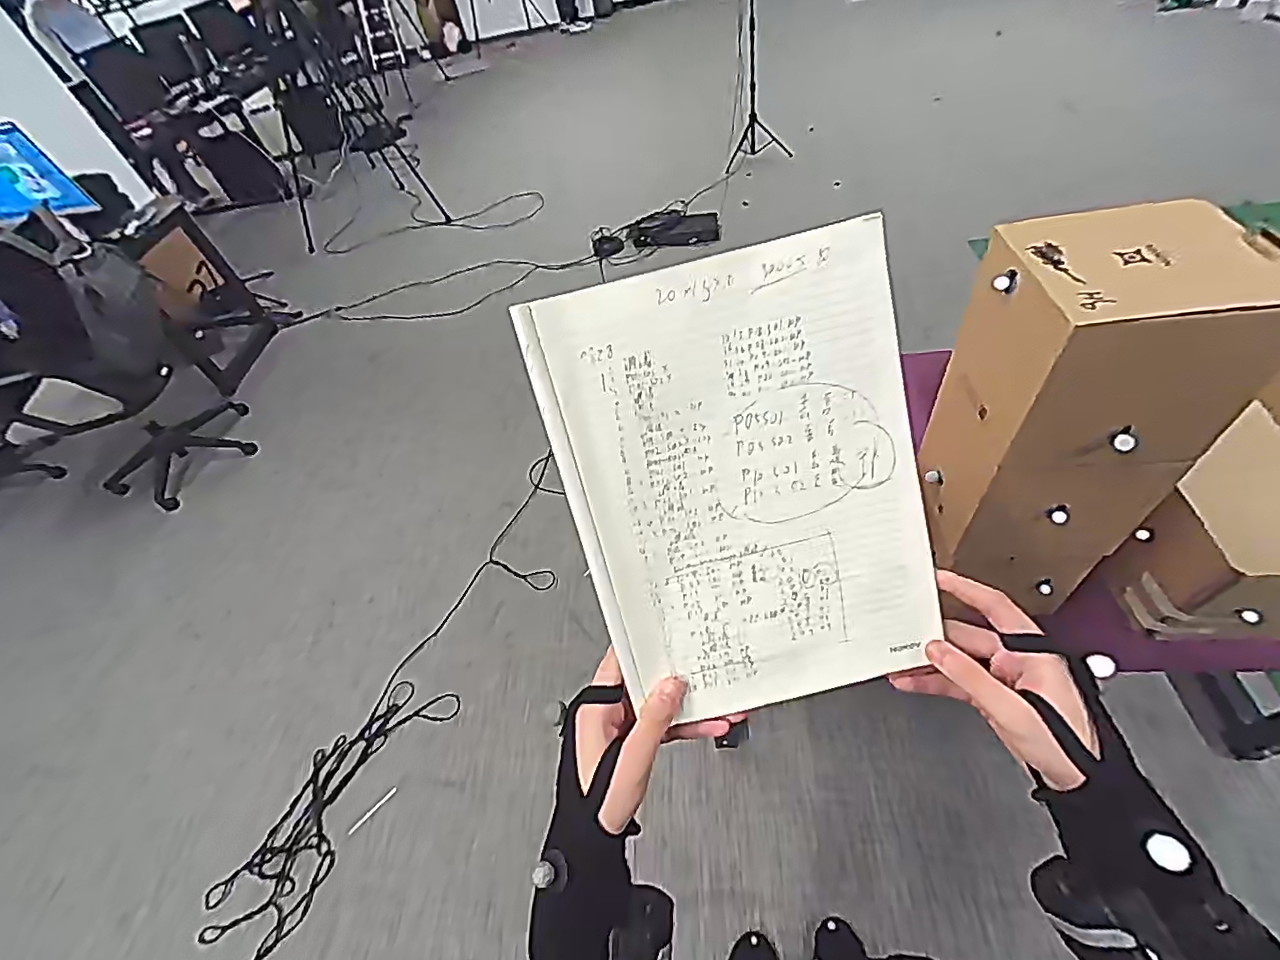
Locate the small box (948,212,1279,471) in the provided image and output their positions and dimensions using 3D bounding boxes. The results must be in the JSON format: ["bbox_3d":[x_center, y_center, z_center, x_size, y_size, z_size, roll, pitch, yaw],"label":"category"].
[{"bbox_3d":[0.424,-0.122,0.506,0.179,0.176,0.168,-3,48,9],"label":"small box"}]

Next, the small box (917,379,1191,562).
[{"bbox_3d":[0.451,-0.016,0.629,0.179,0.176,0.168,-3,48,10],"label":"small box"}]
